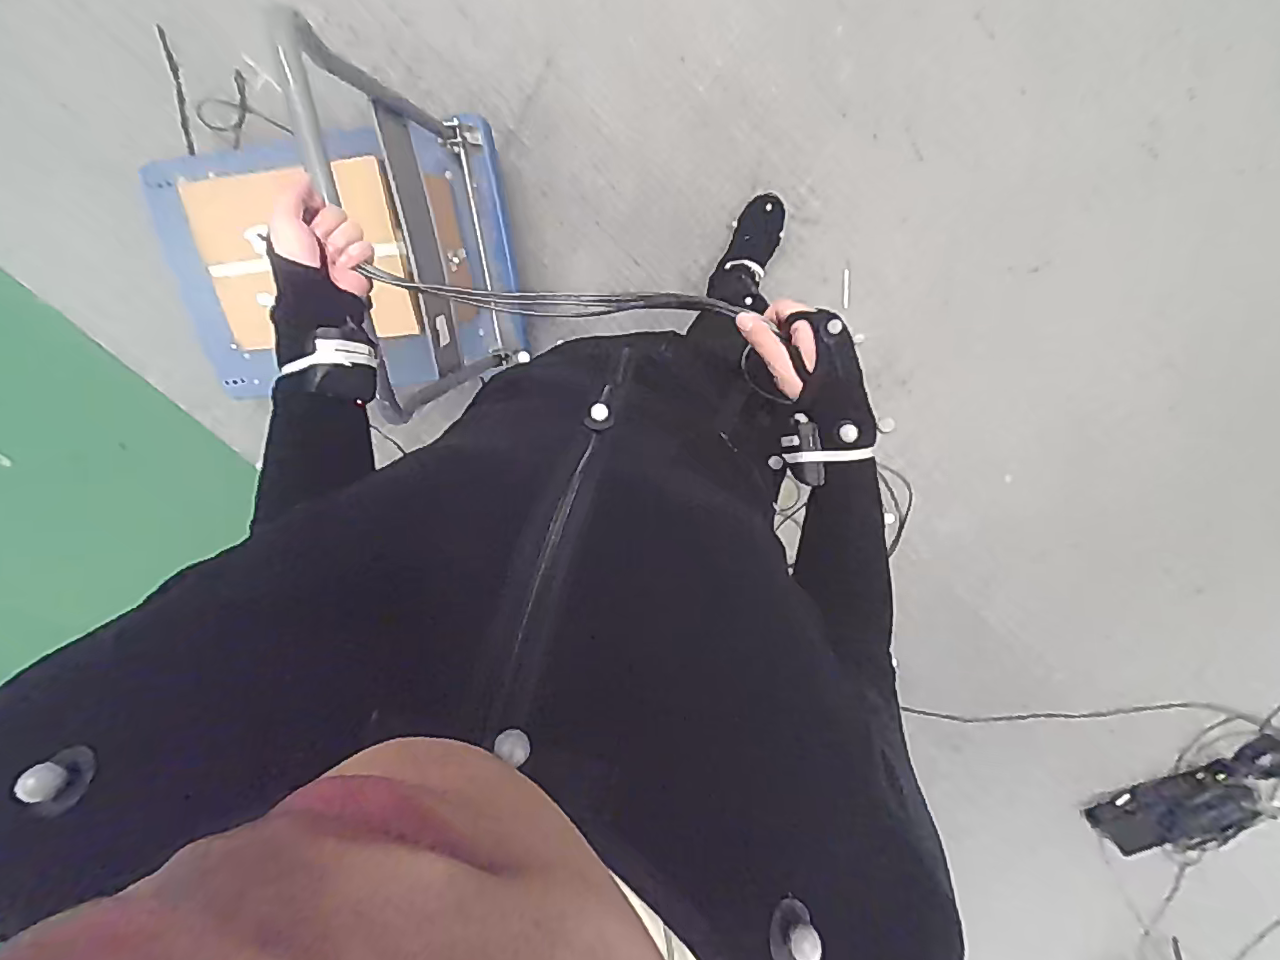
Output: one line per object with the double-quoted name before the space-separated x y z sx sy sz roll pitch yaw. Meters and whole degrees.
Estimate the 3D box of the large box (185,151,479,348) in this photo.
"large box" -0.622 -0.484 1.170 0.408 0.320 0.320 -3 111 8
